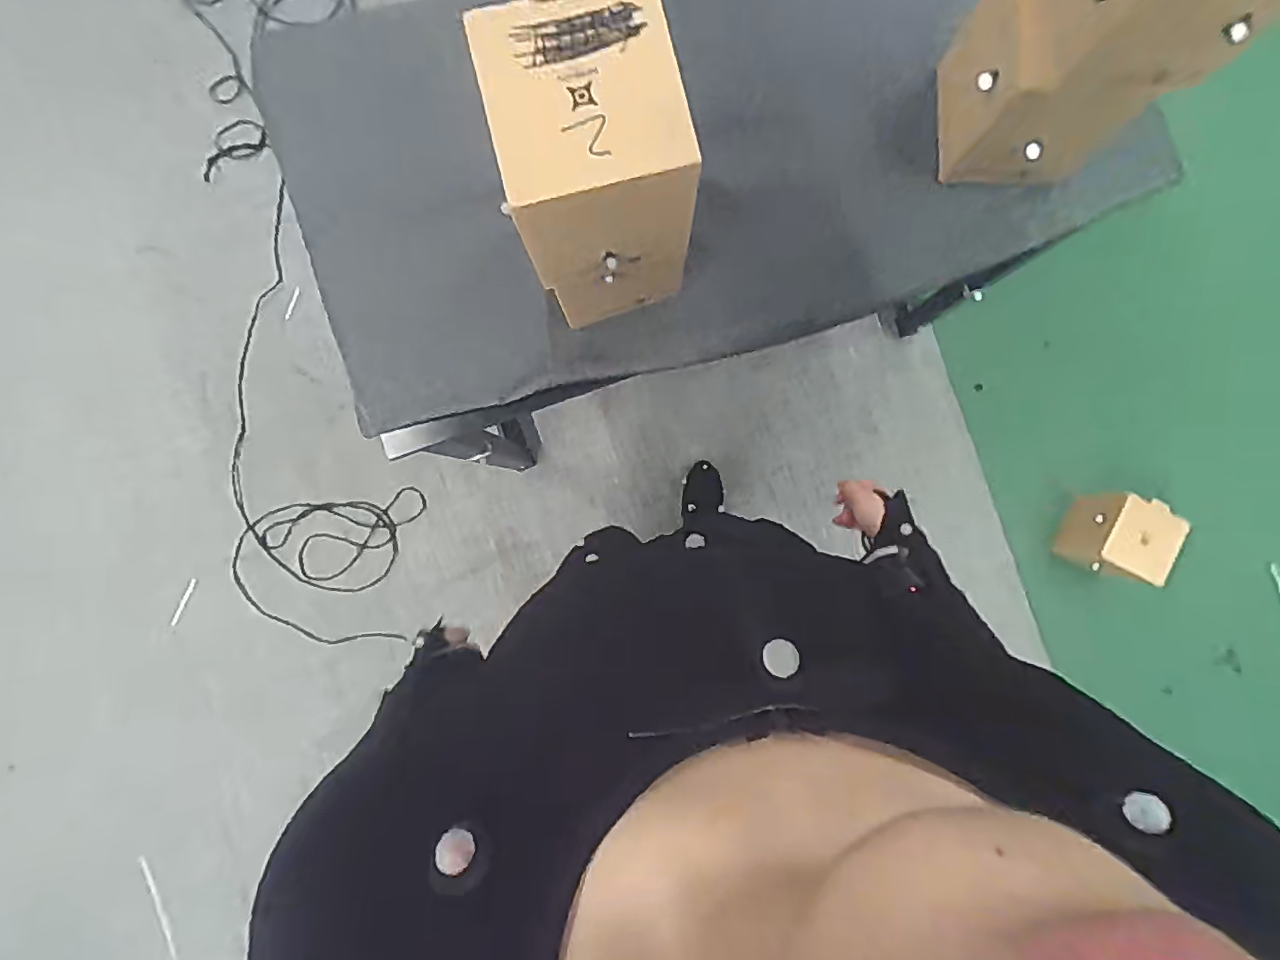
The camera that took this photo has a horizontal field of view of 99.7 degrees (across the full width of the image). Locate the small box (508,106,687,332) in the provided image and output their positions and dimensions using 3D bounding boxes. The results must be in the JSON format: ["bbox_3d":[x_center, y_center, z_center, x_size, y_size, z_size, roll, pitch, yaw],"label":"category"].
[{"bbox_3d":[-0.048,-0.317,0.691,0.168,0.176,0.179,-19,86,1],"label":"small box"}]

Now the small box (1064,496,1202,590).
[{"bbox_3d":[1.236,0.153,1.372,0.168,0.176,0.179,27,88,2],"label":"small box"}]

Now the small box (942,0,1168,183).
[{"bbox_3d":[0.504,-0.501,0.679,0.168,0.176,0.179,1,86,1],"label":"small box"}]
